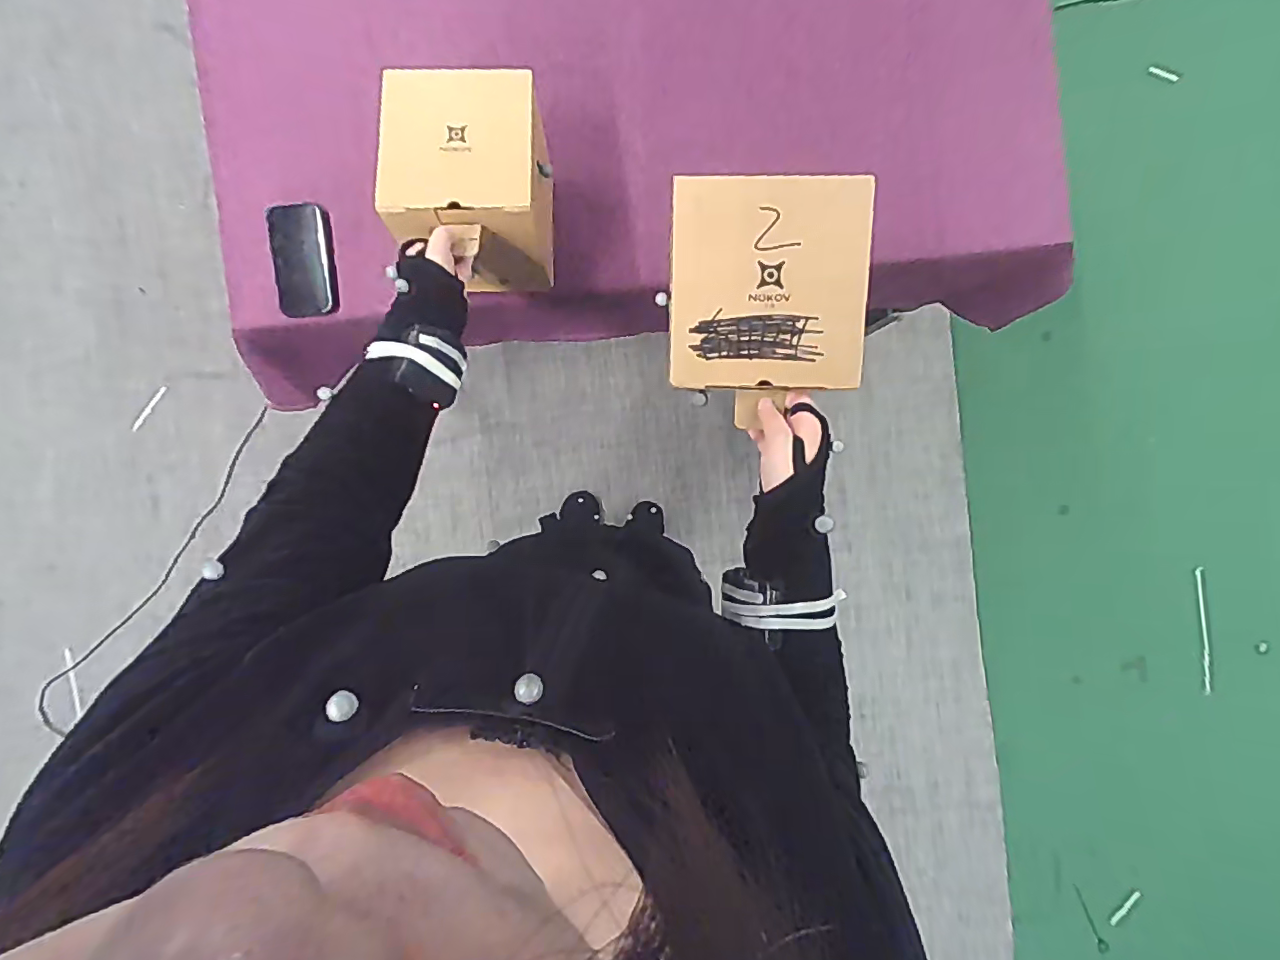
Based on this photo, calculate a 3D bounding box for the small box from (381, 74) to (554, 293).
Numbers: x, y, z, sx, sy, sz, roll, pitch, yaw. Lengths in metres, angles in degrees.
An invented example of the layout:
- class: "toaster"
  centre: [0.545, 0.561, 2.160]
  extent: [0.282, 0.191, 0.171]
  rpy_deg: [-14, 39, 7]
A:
- class: "small box"
  centre: [-0.200, -0.356, 0.673]
  extent: [0.168, 0.176, 0.179]
  rpy_deg: [-1, 81, -2]
